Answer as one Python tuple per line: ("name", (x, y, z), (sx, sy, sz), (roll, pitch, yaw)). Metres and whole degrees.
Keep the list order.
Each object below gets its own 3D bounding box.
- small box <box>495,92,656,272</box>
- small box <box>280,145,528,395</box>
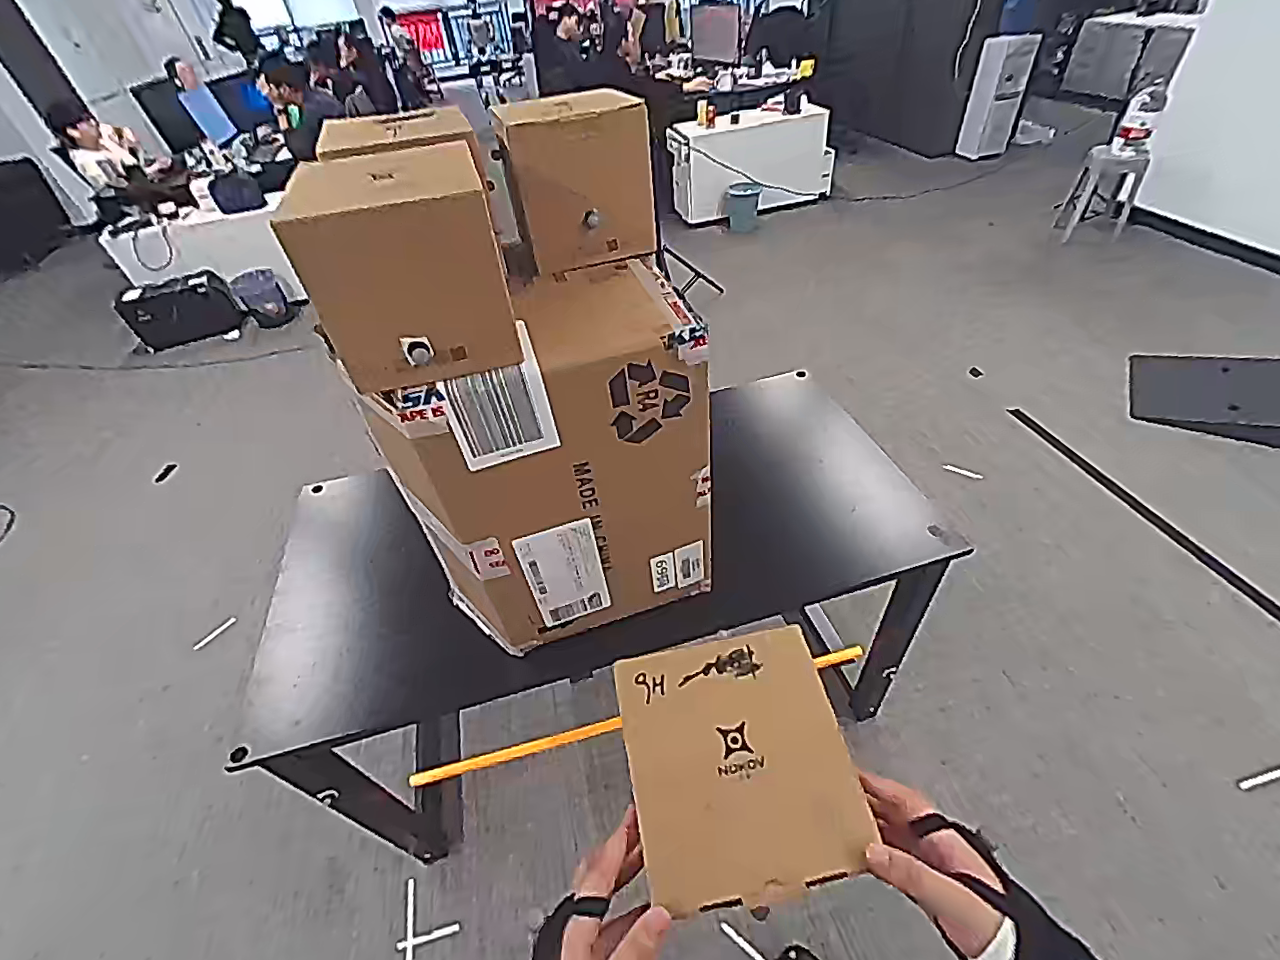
("small box", (-0.084, -0.397, 0.719), (0.168, 0.176, 0.179), (-16, 43, -9))
("small box", (-0.220, -0.211, 0.541), (0.168, 0.176, 0.179), (-16, 47, -10))
